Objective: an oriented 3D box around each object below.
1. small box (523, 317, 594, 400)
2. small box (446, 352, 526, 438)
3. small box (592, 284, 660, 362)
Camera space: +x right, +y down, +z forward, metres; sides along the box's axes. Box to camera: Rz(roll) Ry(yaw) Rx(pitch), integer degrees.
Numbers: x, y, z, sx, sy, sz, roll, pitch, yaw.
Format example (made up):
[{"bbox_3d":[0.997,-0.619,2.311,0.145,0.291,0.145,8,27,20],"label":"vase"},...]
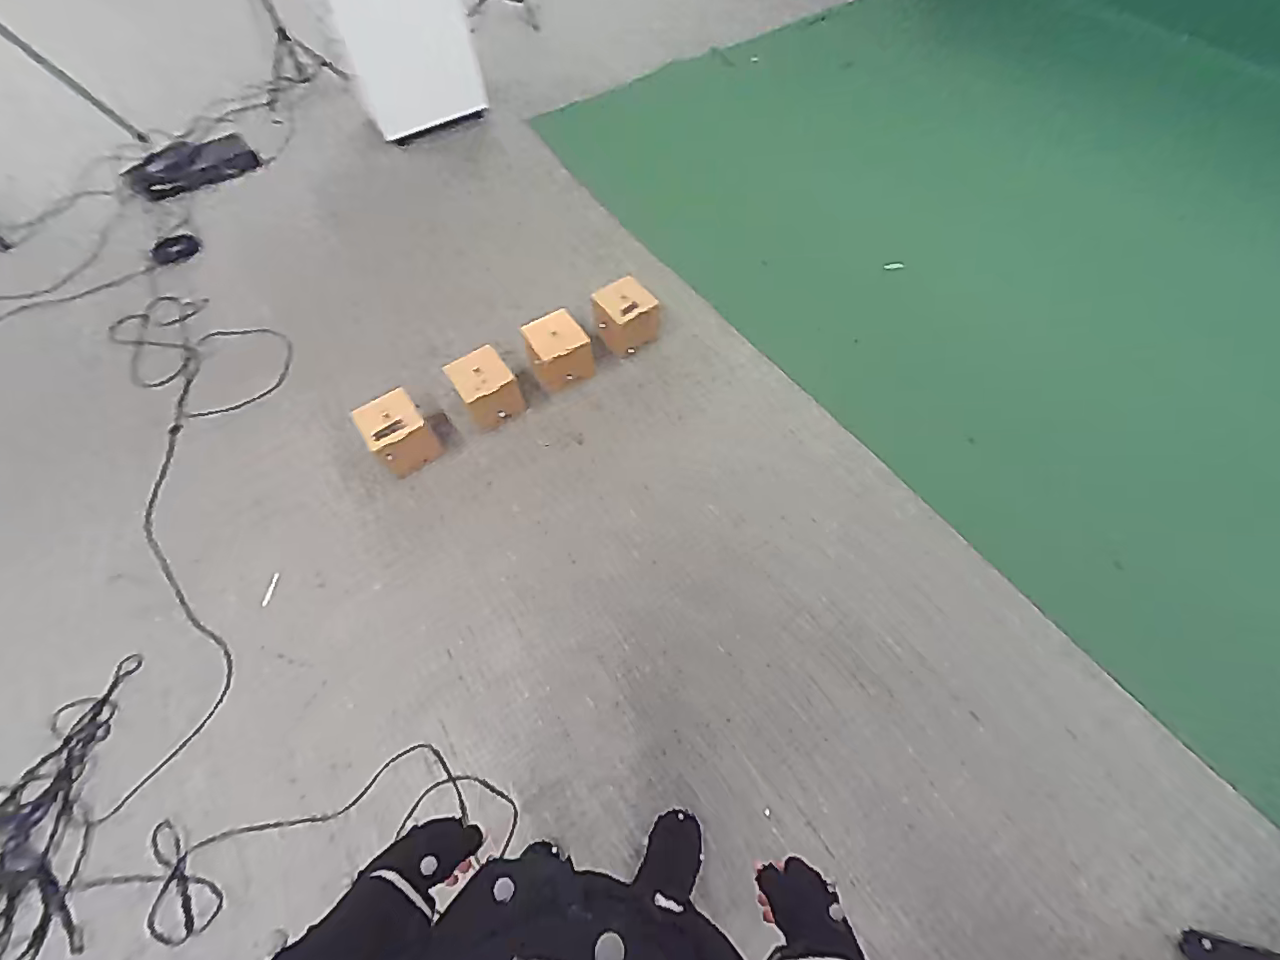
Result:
[{"bbox_3d":[-0.266,-0.399,1.798,0.168,0.176,0.179,-29,64,-15],"label":"small box"},{"bbox_3d":[-0.487,-0.267,1.723,0.168,0.176,0.179,-32,65,-15],"label":"small box"},{"bbox_3d":[-0.044,-0.533,1.871,0.168,0.176,0.179,-33,64,-17],"label":"small box"}]
